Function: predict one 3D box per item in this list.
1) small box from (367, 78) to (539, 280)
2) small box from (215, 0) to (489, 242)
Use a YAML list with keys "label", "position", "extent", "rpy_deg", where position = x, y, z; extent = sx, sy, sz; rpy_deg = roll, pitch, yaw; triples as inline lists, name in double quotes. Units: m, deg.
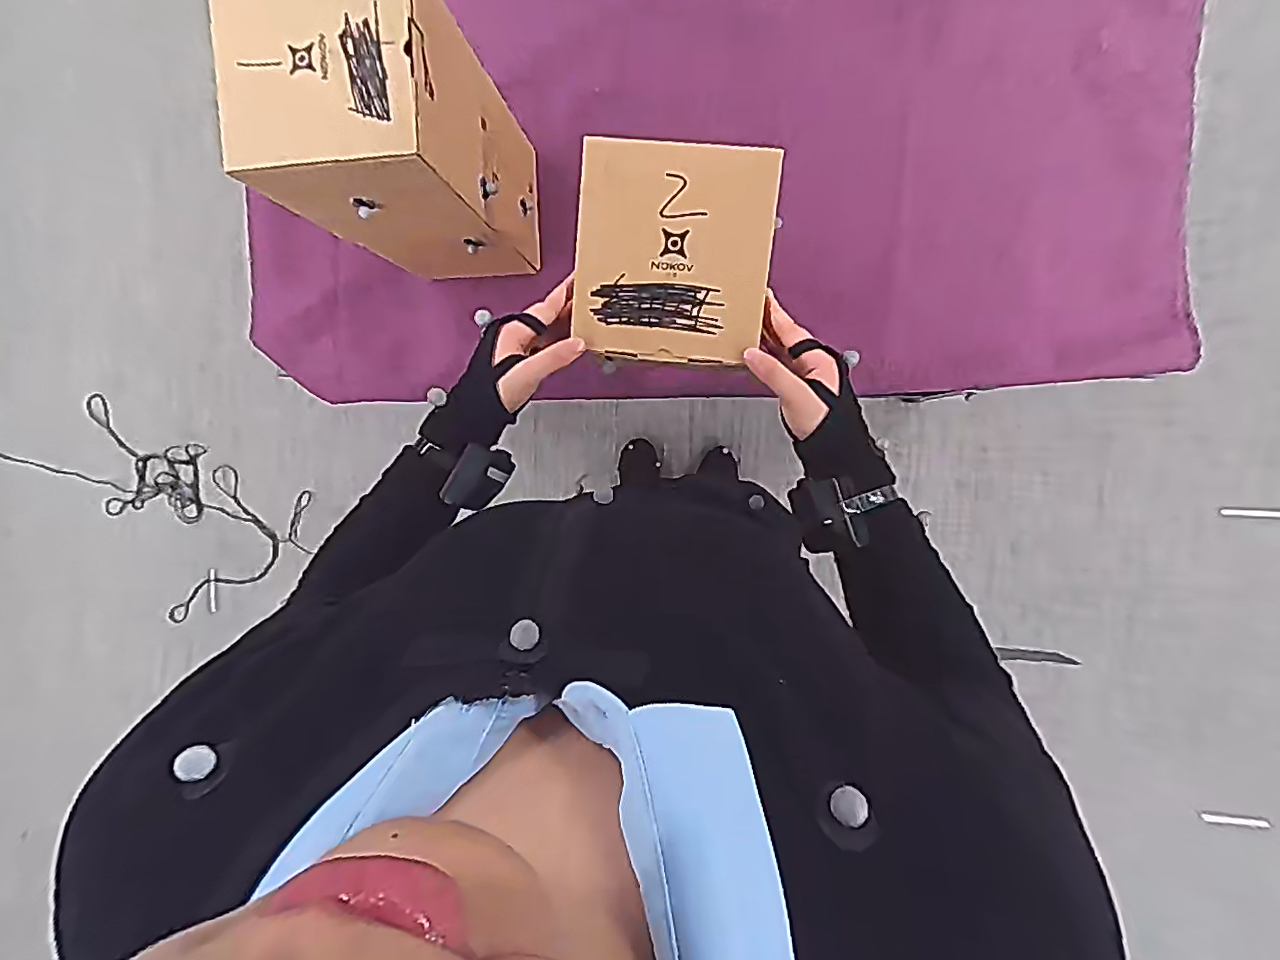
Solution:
- label: "small box"
  position: [-0.238, -0.361, 0.683]
  extent: [0.179, 0.176, 0.168]
  rpy_deg: [-1, 94, 6]
- label: "small box"
  position: [-0.254, -0.345, 0.520]
  extent: [0.179, 0.176, 0.168]
  rpy_deg: [-1, 94, 6]
